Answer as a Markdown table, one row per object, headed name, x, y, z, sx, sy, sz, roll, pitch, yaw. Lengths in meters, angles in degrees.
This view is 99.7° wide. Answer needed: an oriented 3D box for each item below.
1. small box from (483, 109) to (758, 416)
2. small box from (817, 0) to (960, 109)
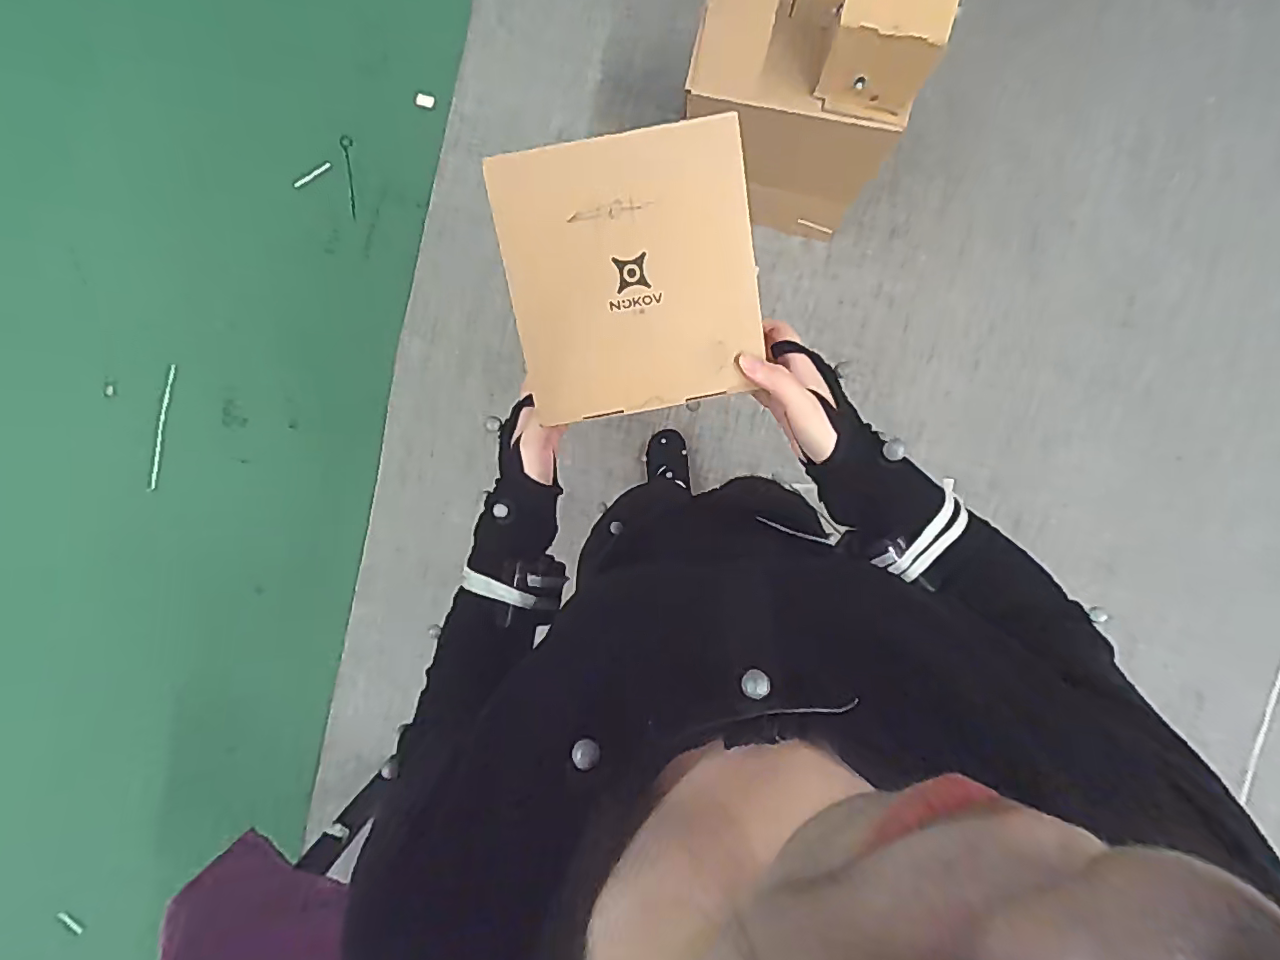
| name | x | y | z | sx | sy | sz | roll | pitch | yaw |
| --- | --- | --- | --- | --- | --- | --- | --- | --- | --- |
| small box | -0.010 | -0.159 | 0.435 | 0.168 | 0.176 | 0.179 | -8 | 105 | -1 |
| small box | 0.406 | -0.759 | 0.881 | 0.168 | 0.176 | 0.179 | 15 | 95 | 3 |
